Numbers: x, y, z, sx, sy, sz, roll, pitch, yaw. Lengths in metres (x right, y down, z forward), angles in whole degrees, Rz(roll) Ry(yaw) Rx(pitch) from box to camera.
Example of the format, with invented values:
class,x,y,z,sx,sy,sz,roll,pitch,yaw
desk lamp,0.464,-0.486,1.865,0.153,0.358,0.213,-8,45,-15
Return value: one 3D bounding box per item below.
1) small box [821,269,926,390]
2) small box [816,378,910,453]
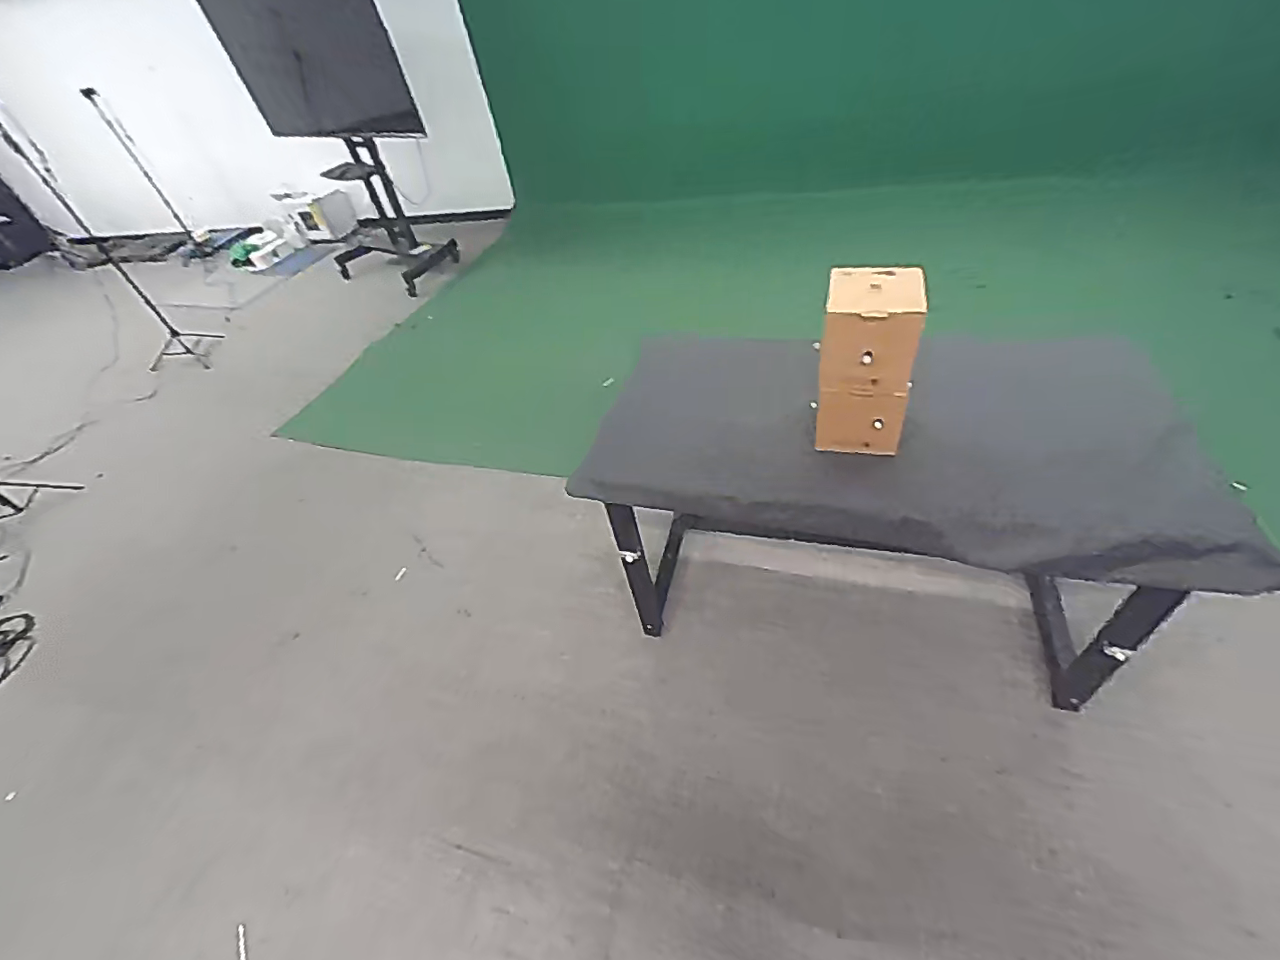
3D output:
class,x,y,z,sx,sy,sz,roll,pitch,yaw
small box,0.453,-0.294,1.061,0.168,0.176,0.179,8,49,17
small box,0.478,-0.176,1.172,0.168,0.176,0.179,6,46,16
